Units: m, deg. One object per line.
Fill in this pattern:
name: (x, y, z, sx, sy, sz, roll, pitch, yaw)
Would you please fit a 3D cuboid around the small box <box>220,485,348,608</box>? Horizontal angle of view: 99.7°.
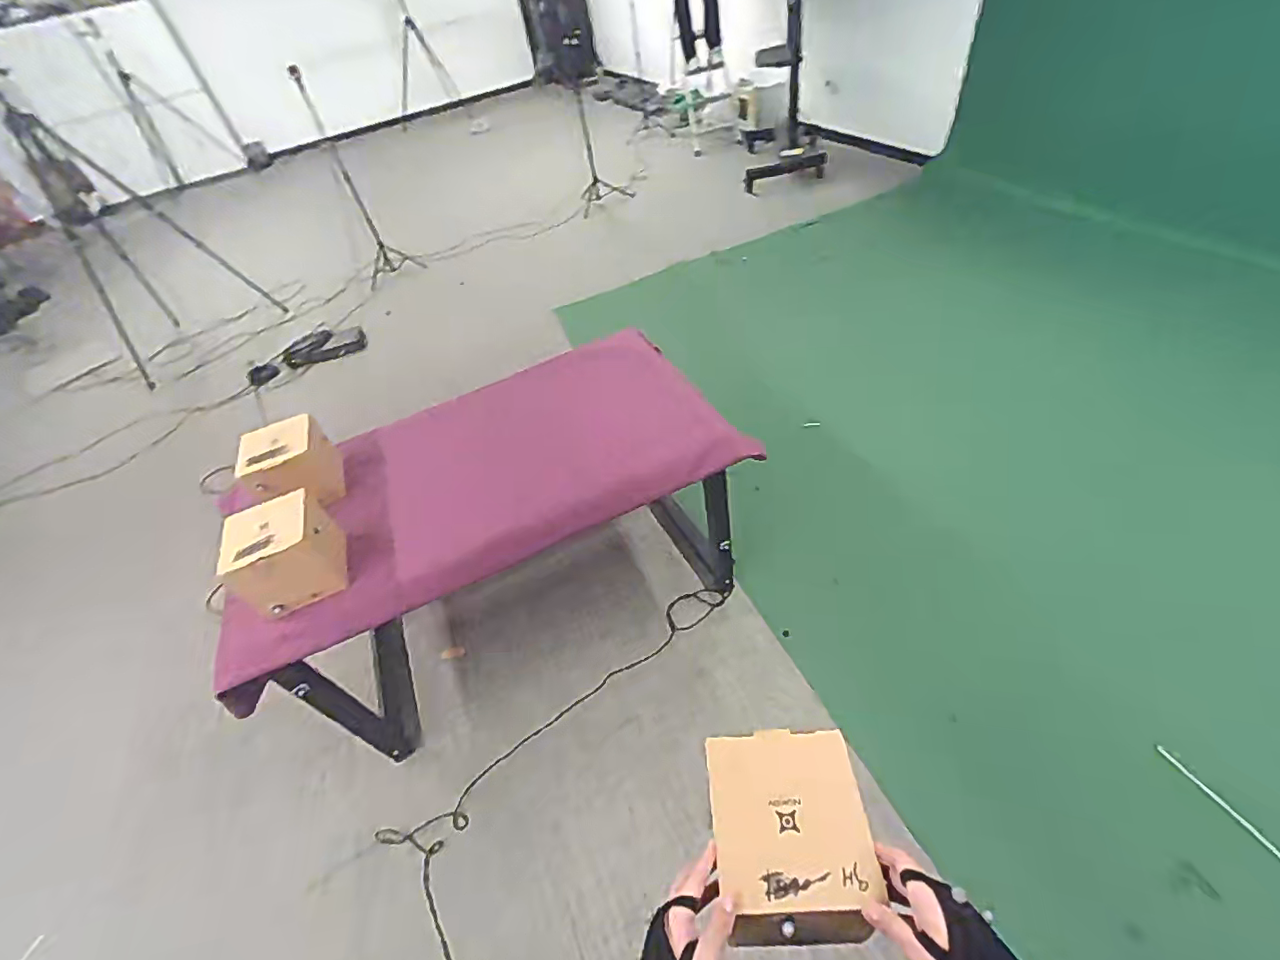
small box: (-0.746, 0.148, 1.153, 0.168, 0.176, 0.179, -23, 46, -11)
